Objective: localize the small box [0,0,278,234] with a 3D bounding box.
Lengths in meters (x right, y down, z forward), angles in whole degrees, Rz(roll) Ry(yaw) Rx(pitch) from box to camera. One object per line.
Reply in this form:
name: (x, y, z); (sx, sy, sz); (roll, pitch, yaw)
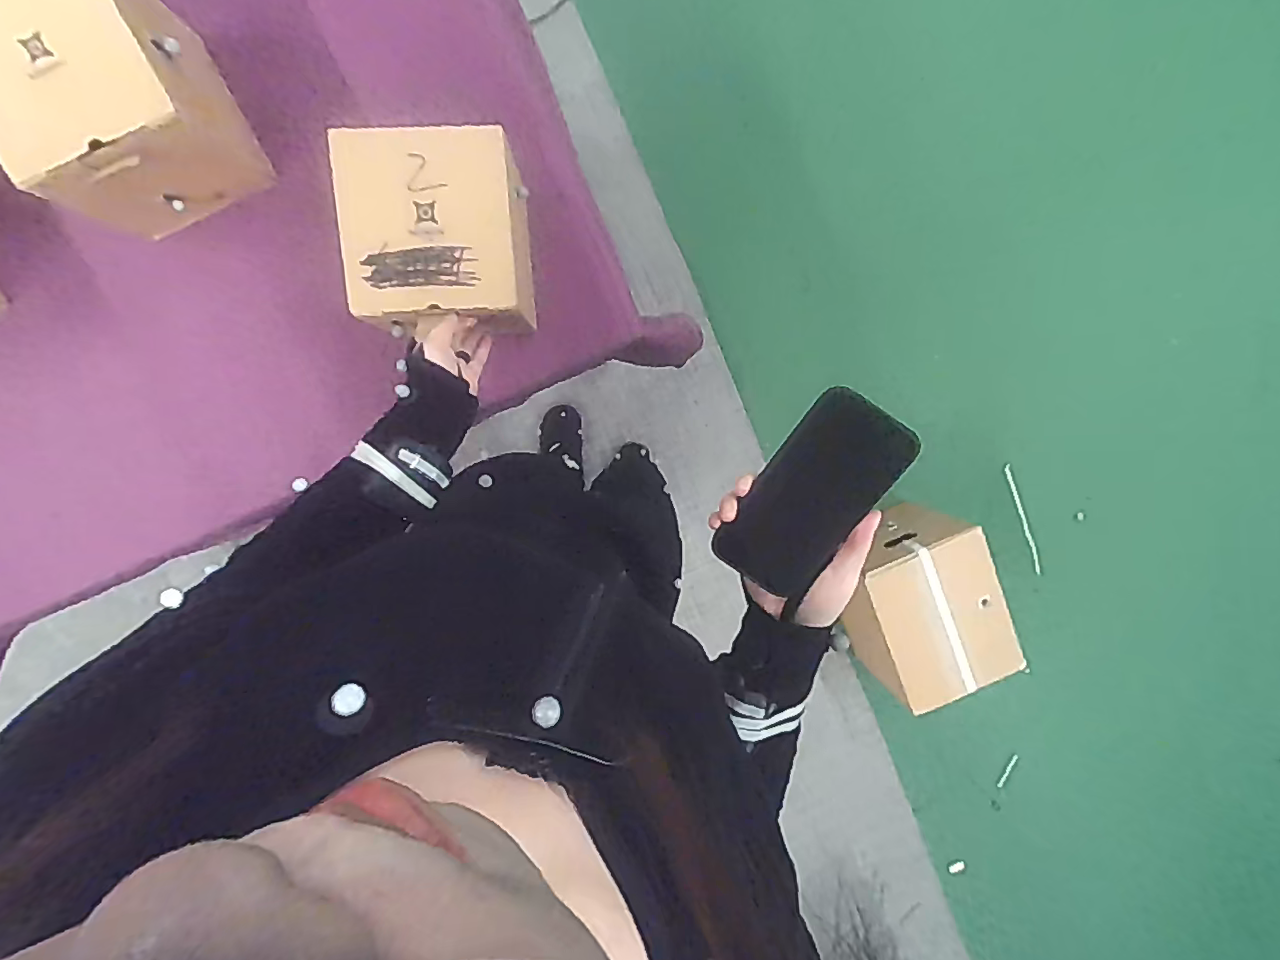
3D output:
small box: (-0.537, -0.393, 0.566); (0.168, 0.176, 0.179); (-26, 101, -1)
